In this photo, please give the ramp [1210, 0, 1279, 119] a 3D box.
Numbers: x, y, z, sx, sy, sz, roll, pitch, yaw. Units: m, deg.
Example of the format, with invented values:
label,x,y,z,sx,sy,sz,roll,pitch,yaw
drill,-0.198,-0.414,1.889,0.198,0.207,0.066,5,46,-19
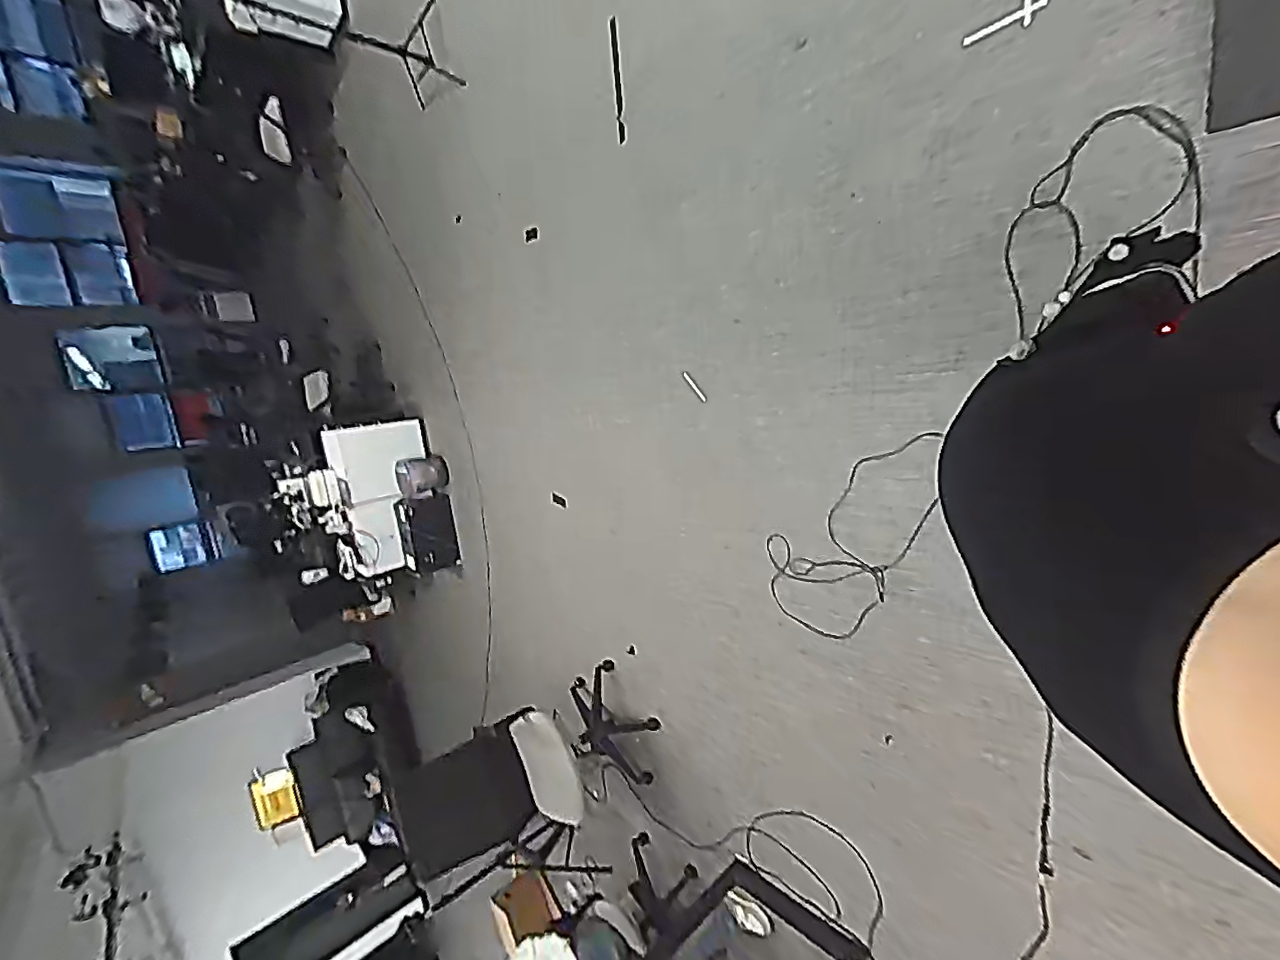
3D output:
label,x,y,z,sx,sy,sz,roll,pitch,yaw
ramp,1.059,-1.085,0.641,0.509,0.206,0.991,2,104,47
